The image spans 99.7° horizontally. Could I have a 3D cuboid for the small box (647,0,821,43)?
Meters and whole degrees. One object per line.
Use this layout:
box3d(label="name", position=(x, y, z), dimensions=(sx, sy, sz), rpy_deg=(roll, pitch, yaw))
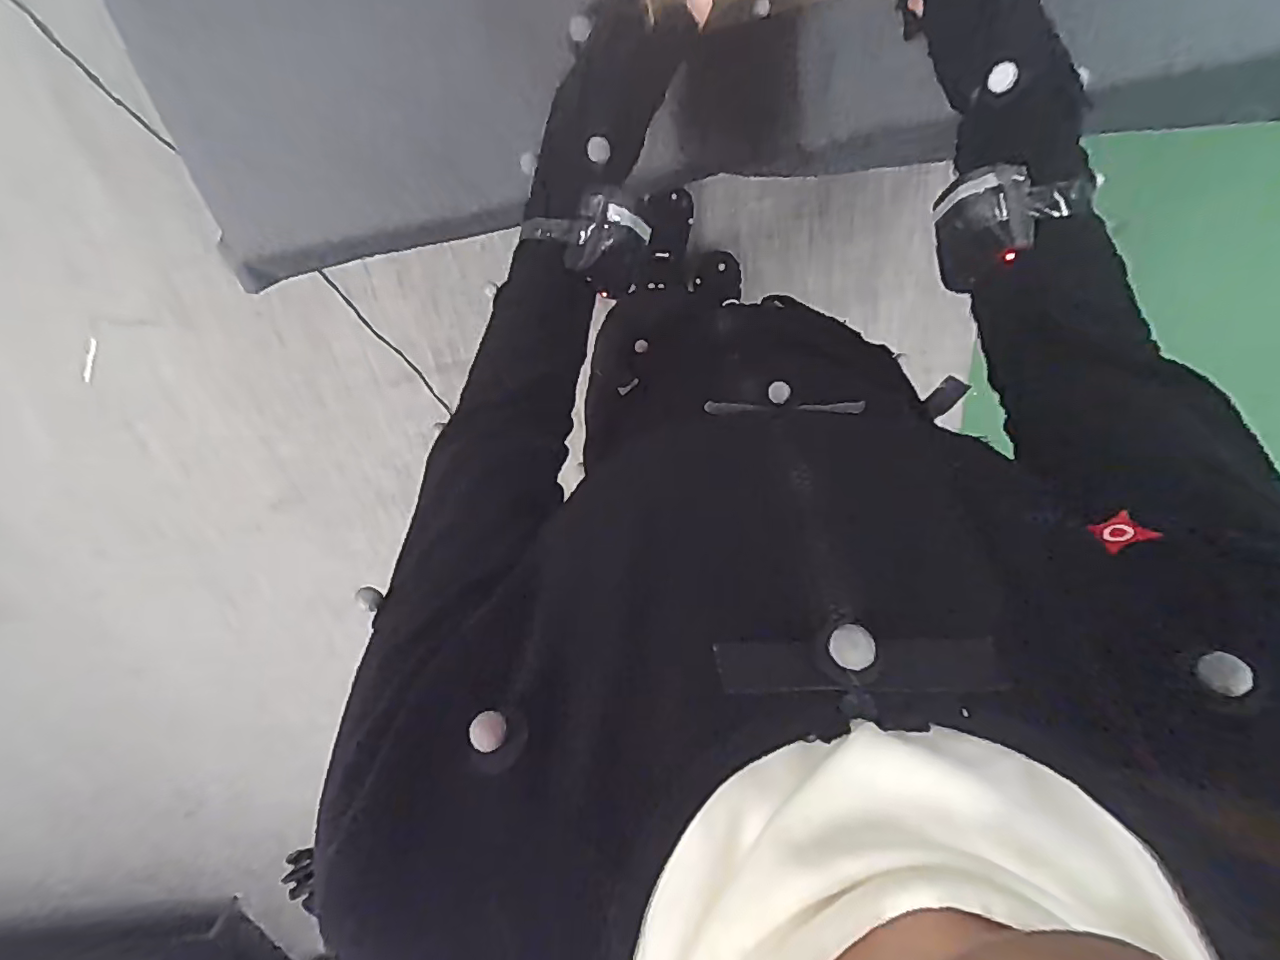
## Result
box3d(label="small box", position=(0.081, -0.446, 0.382), dimensions=(0.179, 0.176, 0.168), rpy_deg=(-10, 118, 8))
